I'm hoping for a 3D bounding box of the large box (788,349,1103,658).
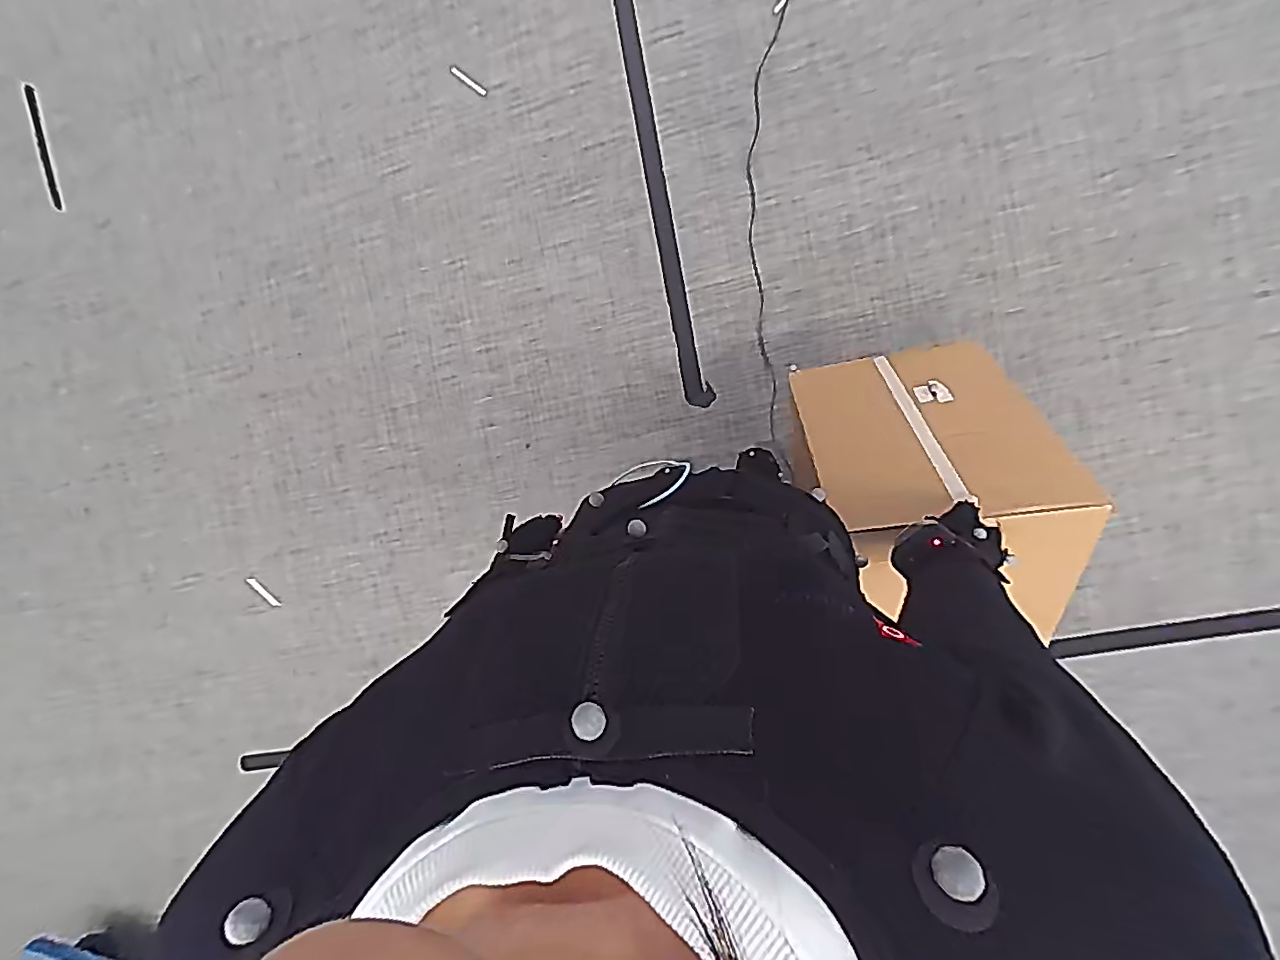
[{"bbox_3d":[0.449,0.031,0.911,0.320,0.408,0.320,-8,129,9],"label":"large box"}]
